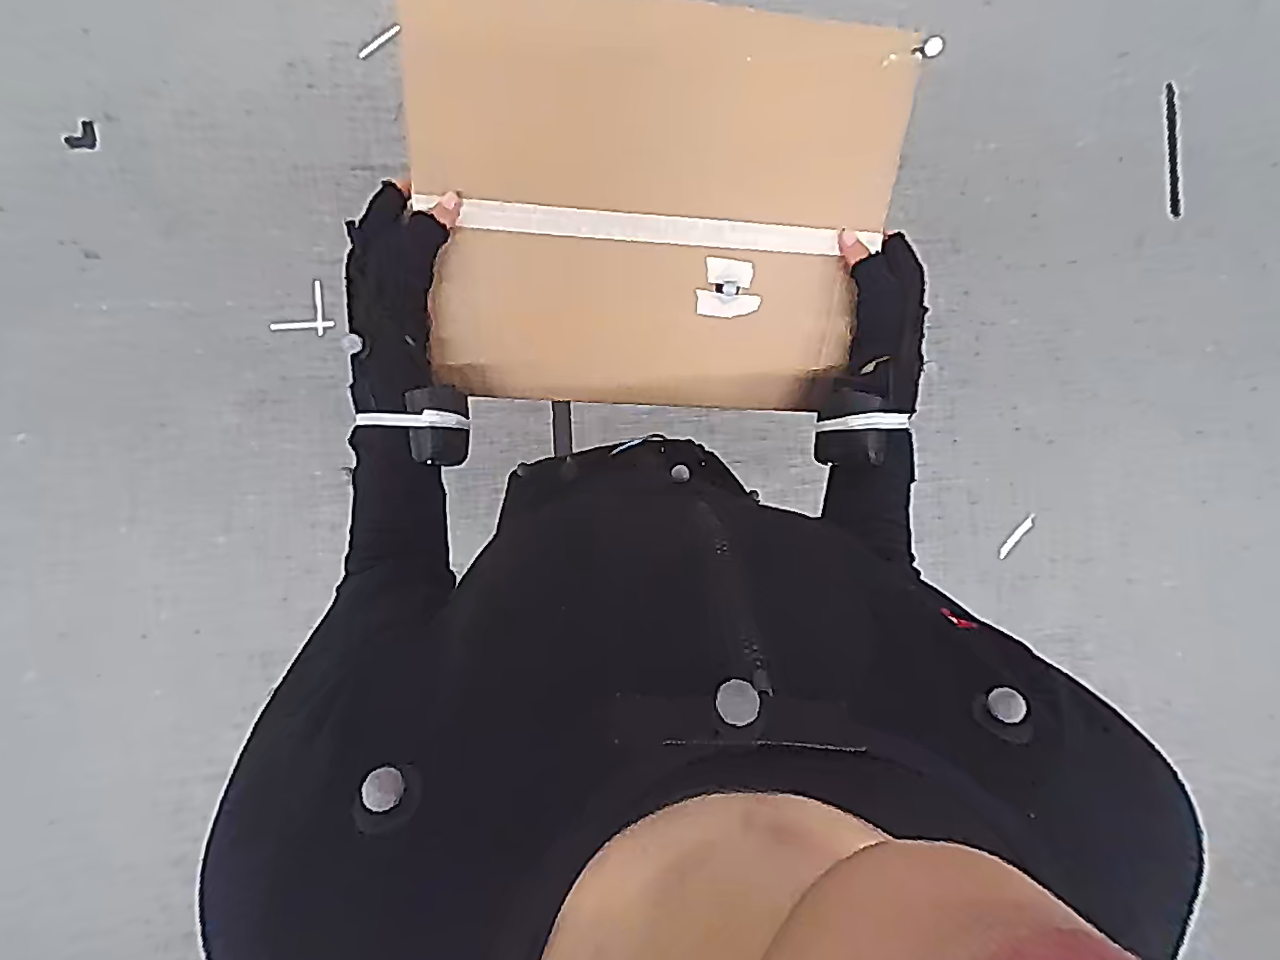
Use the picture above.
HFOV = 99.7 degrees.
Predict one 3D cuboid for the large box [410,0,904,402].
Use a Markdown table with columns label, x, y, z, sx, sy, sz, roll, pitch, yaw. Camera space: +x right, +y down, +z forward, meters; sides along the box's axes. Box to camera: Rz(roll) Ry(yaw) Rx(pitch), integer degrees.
| label | x | y | z | sx | sy | sz | roll | pitch | yaw |
| --- | --- | --- | --- | --- | --- | --- | --- | --- | --- |
| large box | -0.002 | -0.283 | 0.617 | 0.408 | 0.320 | 0.320 | 2 | 114 | -8 |
